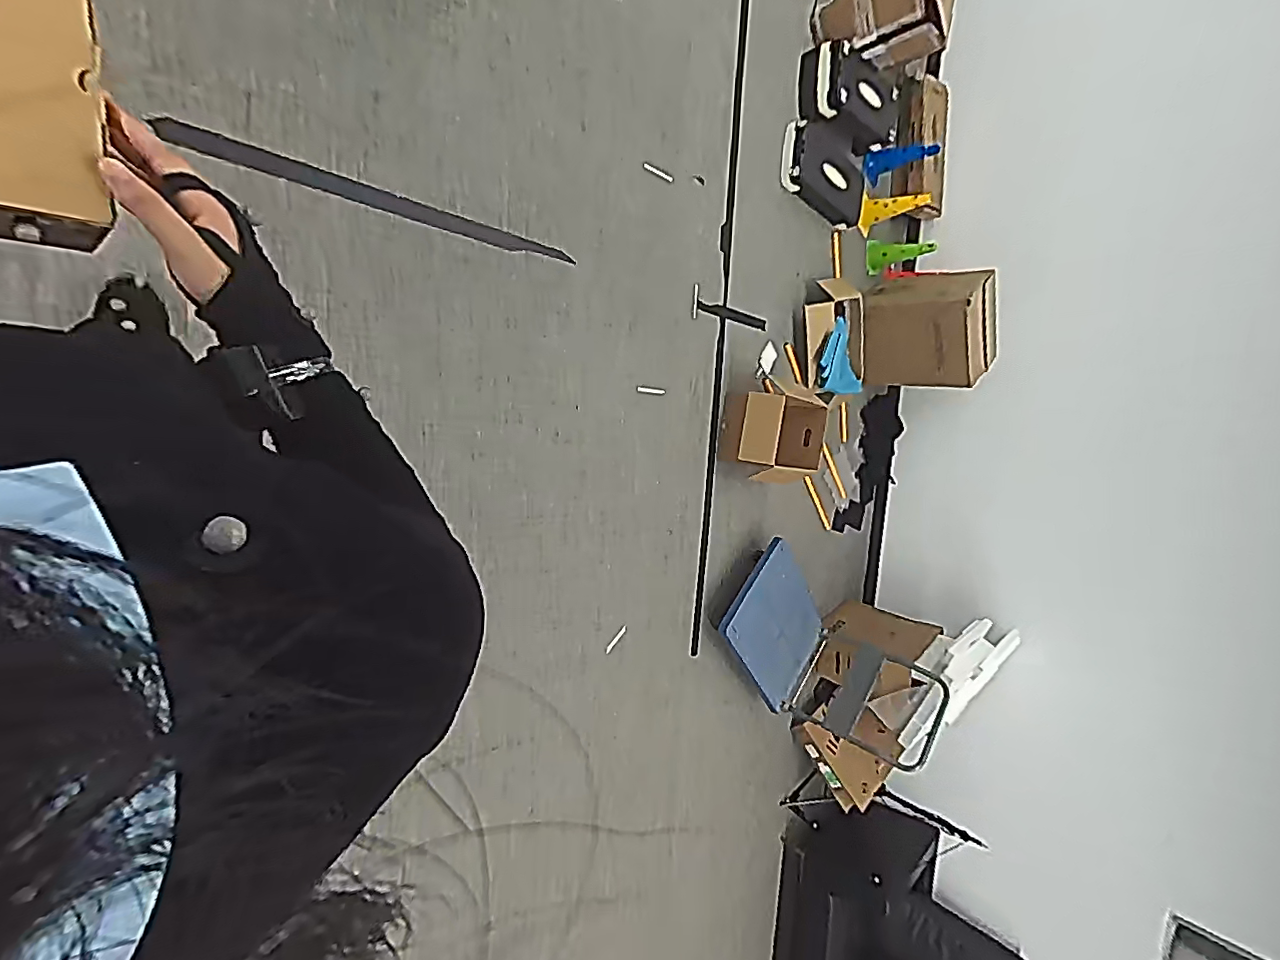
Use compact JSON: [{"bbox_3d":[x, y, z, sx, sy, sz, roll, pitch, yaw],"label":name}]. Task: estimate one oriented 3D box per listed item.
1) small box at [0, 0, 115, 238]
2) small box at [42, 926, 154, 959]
[{"bbox_3d":[-0.451,-0.255,0.323,0.179,0.176,0.168,-9,106,-49],"label":"small box"},{"bbox_3d":[-1.019,0.984,1.001,0.168,0.176,0.179,3,96,-45],"label":"small box"}]
